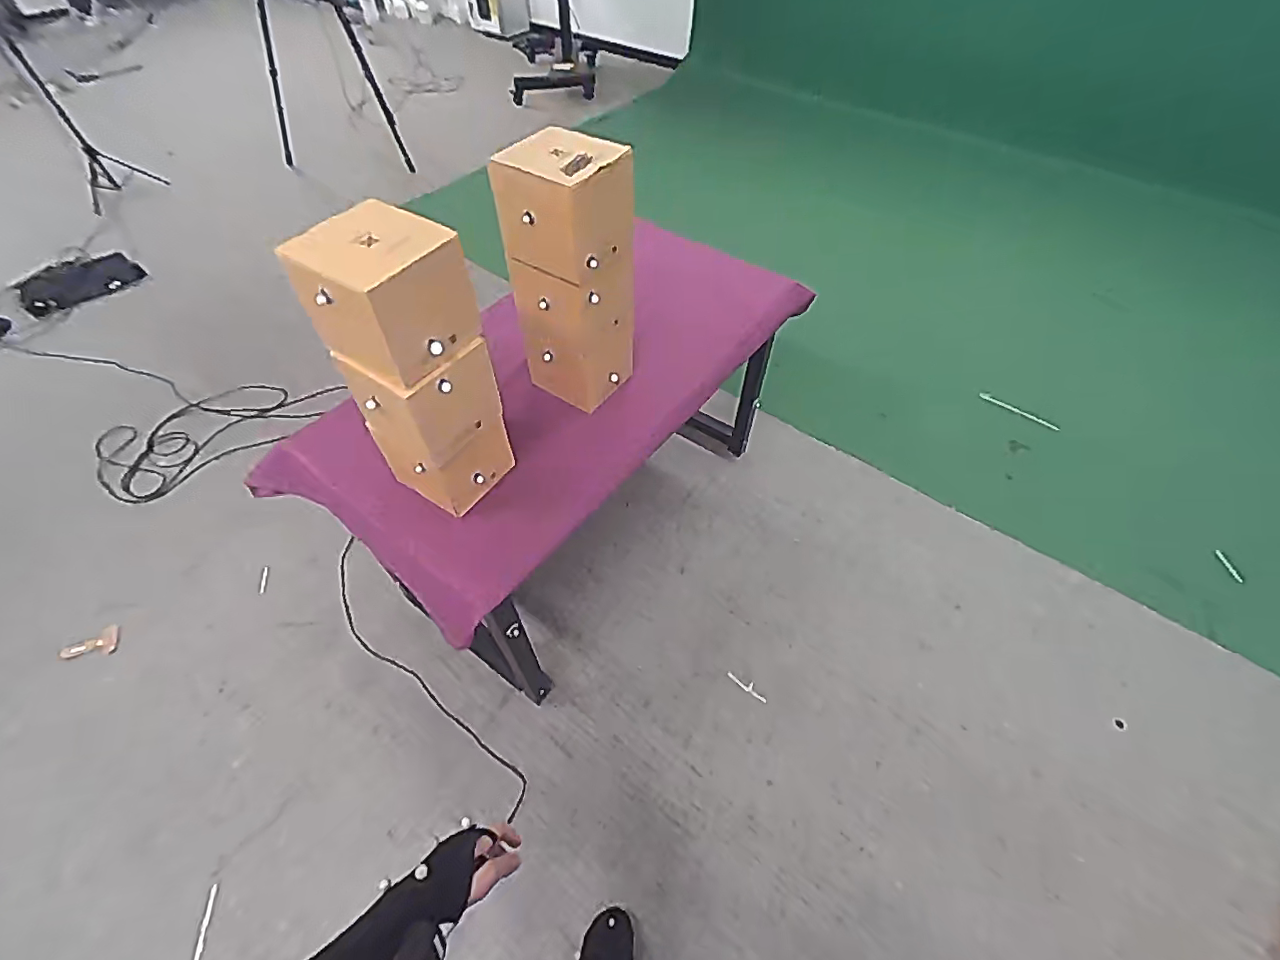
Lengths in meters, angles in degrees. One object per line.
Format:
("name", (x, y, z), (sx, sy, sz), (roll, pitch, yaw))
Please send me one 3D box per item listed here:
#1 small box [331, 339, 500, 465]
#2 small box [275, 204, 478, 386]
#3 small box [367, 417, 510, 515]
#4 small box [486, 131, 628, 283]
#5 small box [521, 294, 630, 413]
("small box", (-0.364, -0.154, 0.906), (0.179, 0.176, 0.168), (29, 57, 20))
("small box", (-0.366, -0.264, 0.784), (0.179, 0.176, 0.168), (28, 57, 18))
("small box", (-0.377, -0.061, 1.041), (0.179, 0.176, 0.168), (27, 57, 19))
("small box", (-0.133, -0.470, 0.942), (0.179, 0.176, 0.168), (28, 57, 21))
("small box", (-0.138, -0.279, 1.209), (0.179, 0.176, 0.168), (30, 58, 20))
